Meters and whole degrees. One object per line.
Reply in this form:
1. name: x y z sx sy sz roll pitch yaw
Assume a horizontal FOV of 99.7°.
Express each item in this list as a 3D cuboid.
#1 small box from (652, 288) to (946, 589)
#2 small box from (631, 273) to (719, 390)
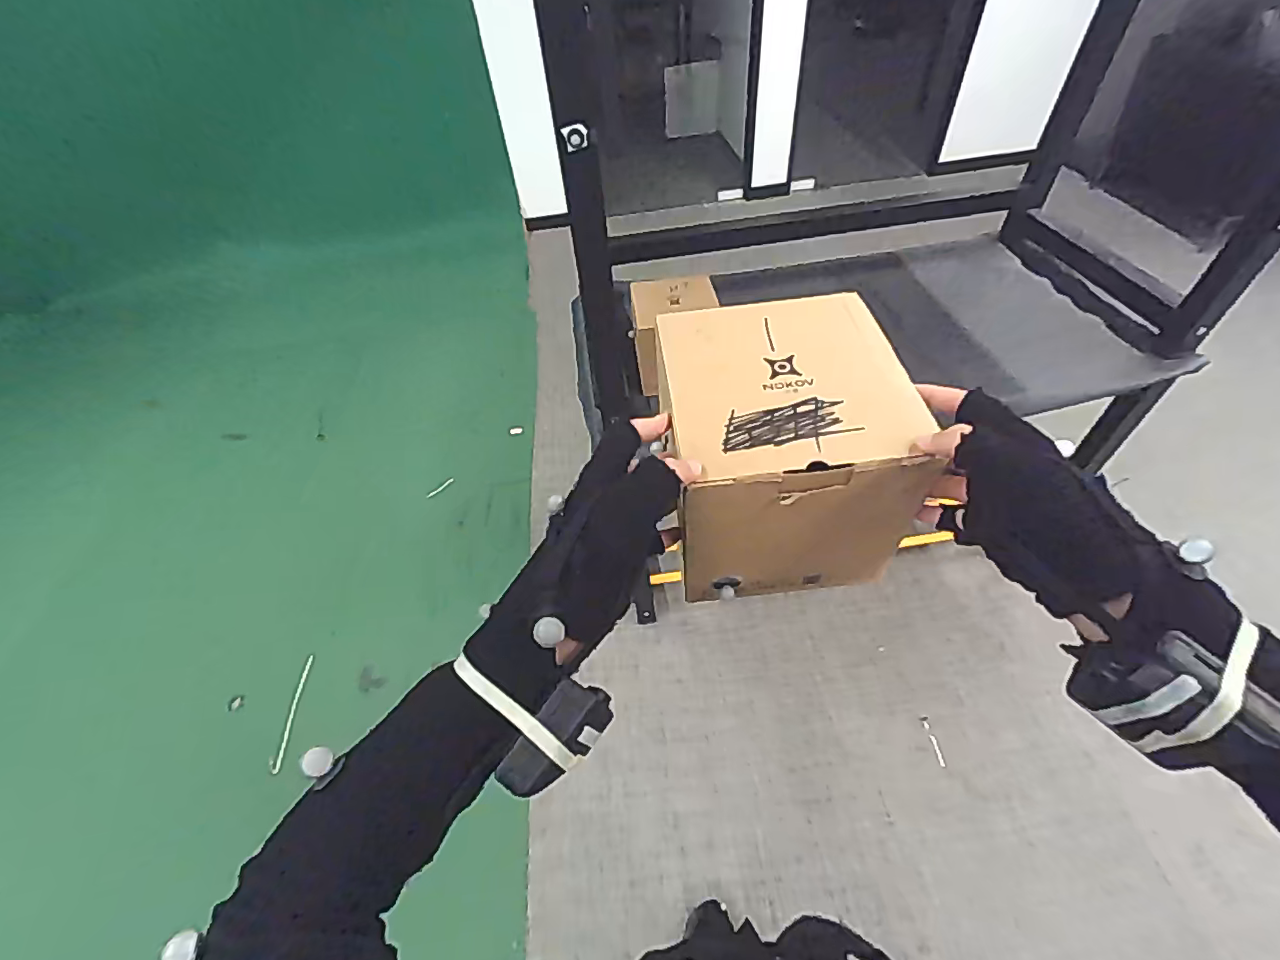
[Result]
1. small box: 0.103 -0.025 0.435 0.168 0.176 0.179 -6 51 0
2. small box: 0.075 -0.300 1.118 0.168 0.176 0.179 -6 48 -1
